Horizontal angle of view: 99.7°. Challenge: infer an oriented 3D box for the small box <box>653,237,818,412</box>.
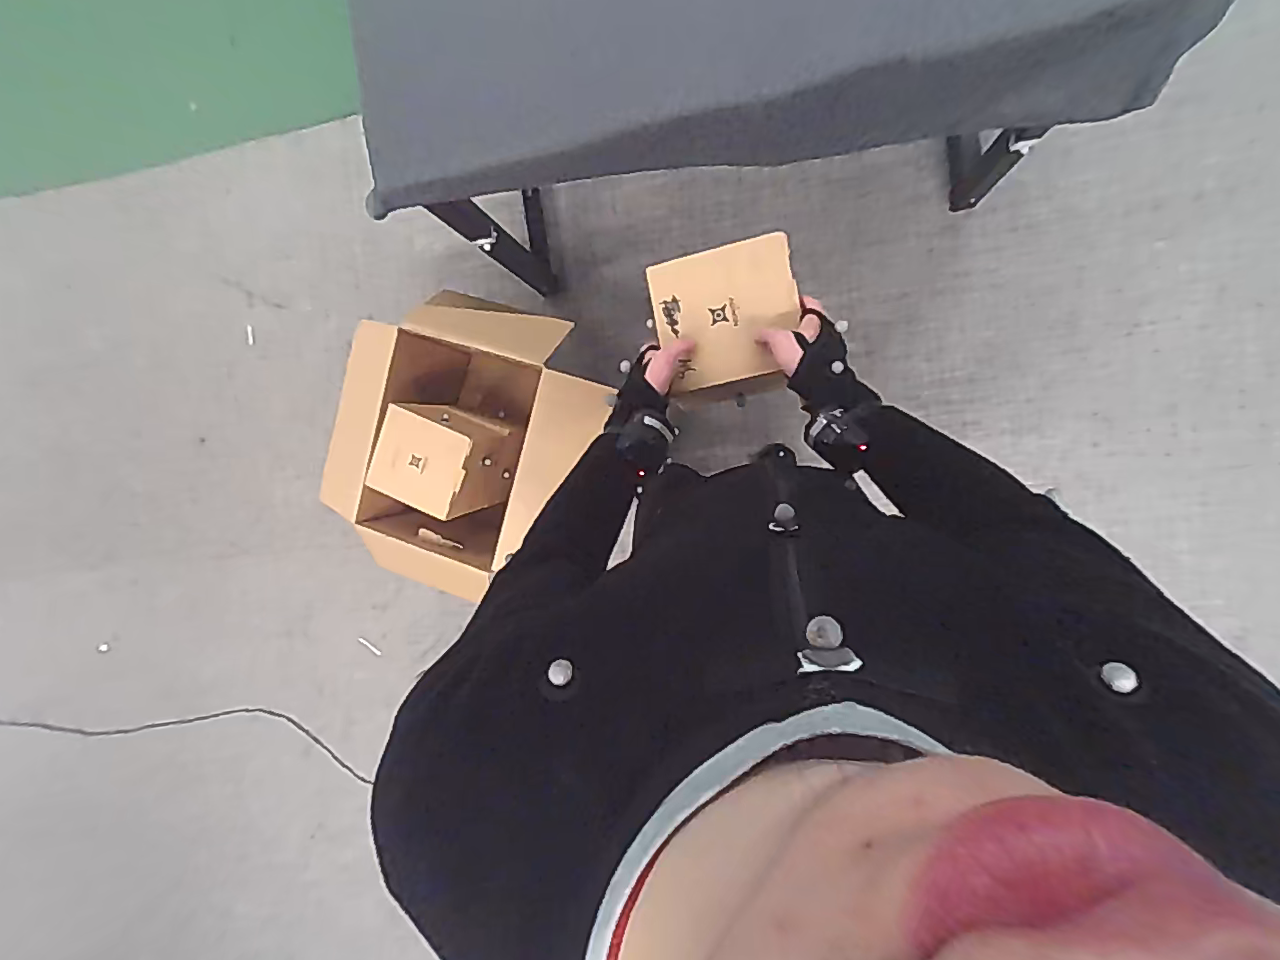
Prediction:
[{"bbox_3d":[0.126,-0.195,0.731,0.179,0.176,0.168,-11,88,10],"label":"small box"}]
